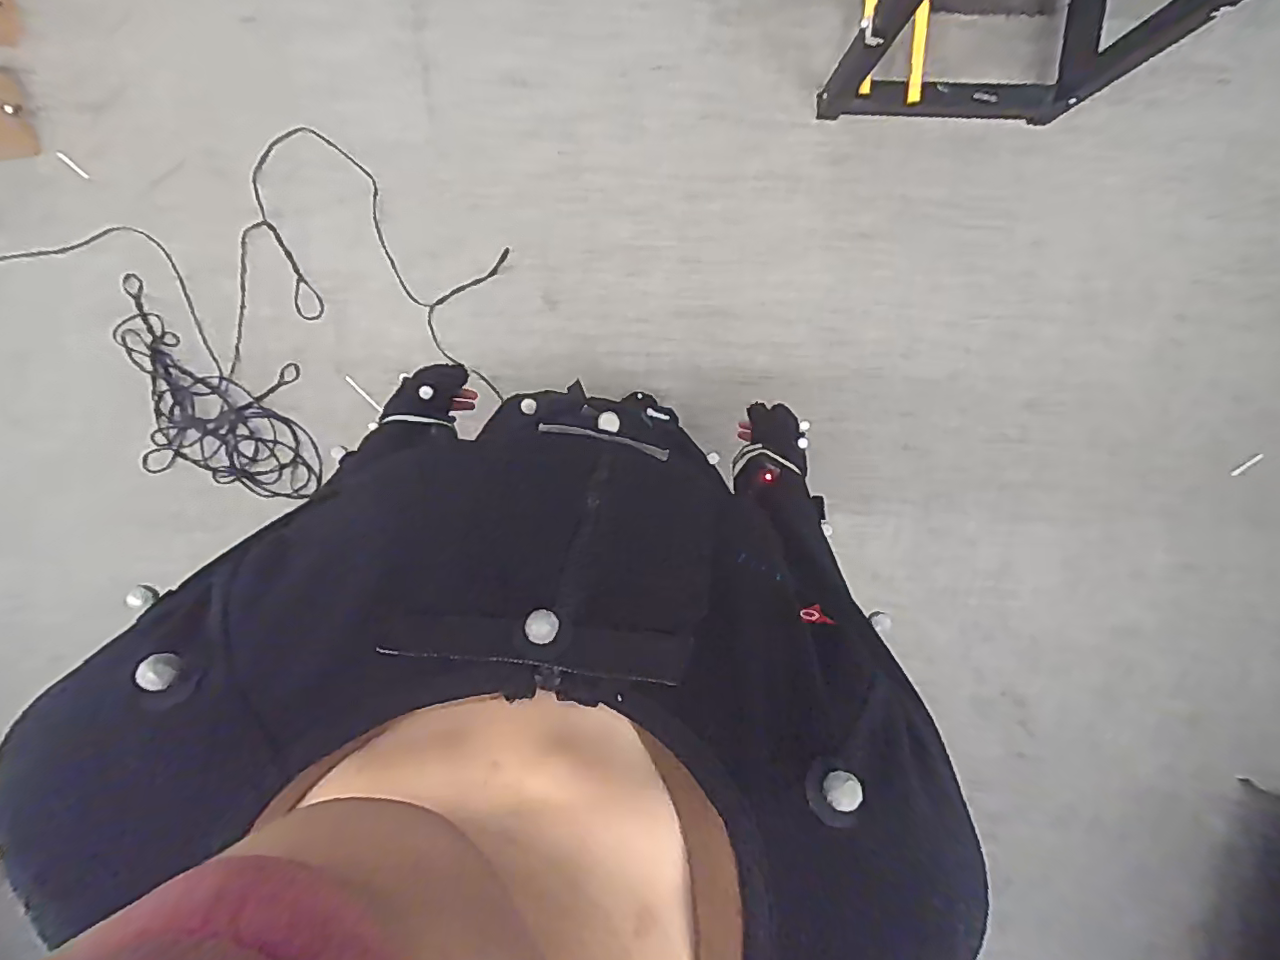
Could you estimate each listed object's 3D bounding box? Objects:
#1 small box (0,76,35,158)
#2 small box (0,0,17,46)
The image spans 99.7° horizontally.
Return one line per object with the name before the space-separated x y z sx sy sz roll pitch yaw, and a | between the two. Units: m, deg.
small box | -1.579 -0.856 1.240 0.179 0.176 0.168 -6 101 1
small box | -1.567 -1.104 1.196 0.179 0.176 0.168 2 100 -1
